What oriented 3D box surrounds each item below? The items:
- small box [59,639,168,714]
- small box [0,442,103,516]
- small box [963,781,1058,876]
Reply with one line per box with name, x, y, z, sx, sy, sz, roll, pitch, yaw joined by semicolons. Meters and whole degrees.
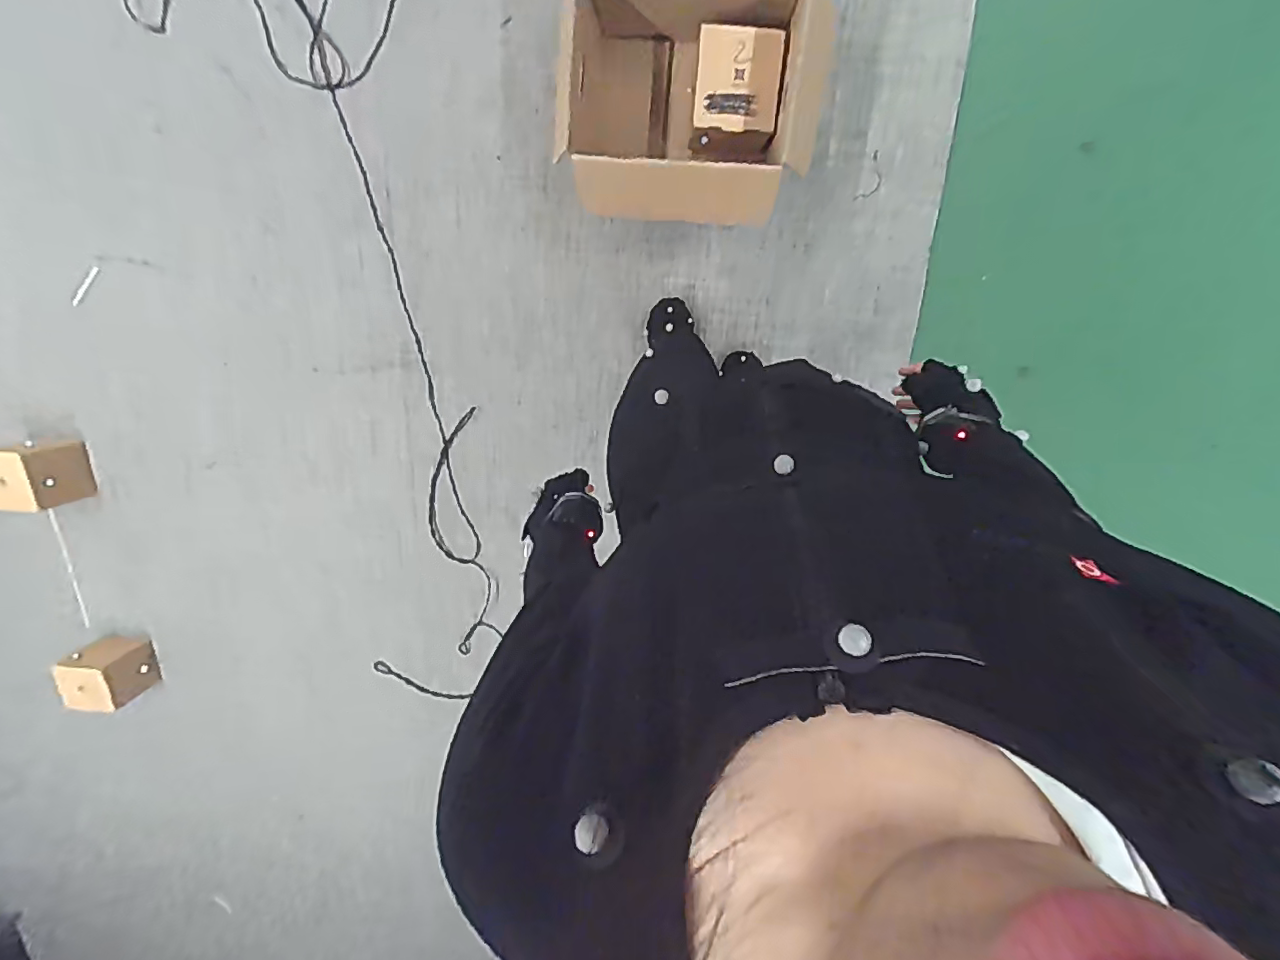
small box;-1.731;0.642;1.787;0.179;0.176;0.168;2;109;4
small box;-1.736;-0.008;1.571;0.168;0.176;0.179;2;109;3
small box;1.143;1.082;1.685;0.168;0.176;0.179;5;108;3
